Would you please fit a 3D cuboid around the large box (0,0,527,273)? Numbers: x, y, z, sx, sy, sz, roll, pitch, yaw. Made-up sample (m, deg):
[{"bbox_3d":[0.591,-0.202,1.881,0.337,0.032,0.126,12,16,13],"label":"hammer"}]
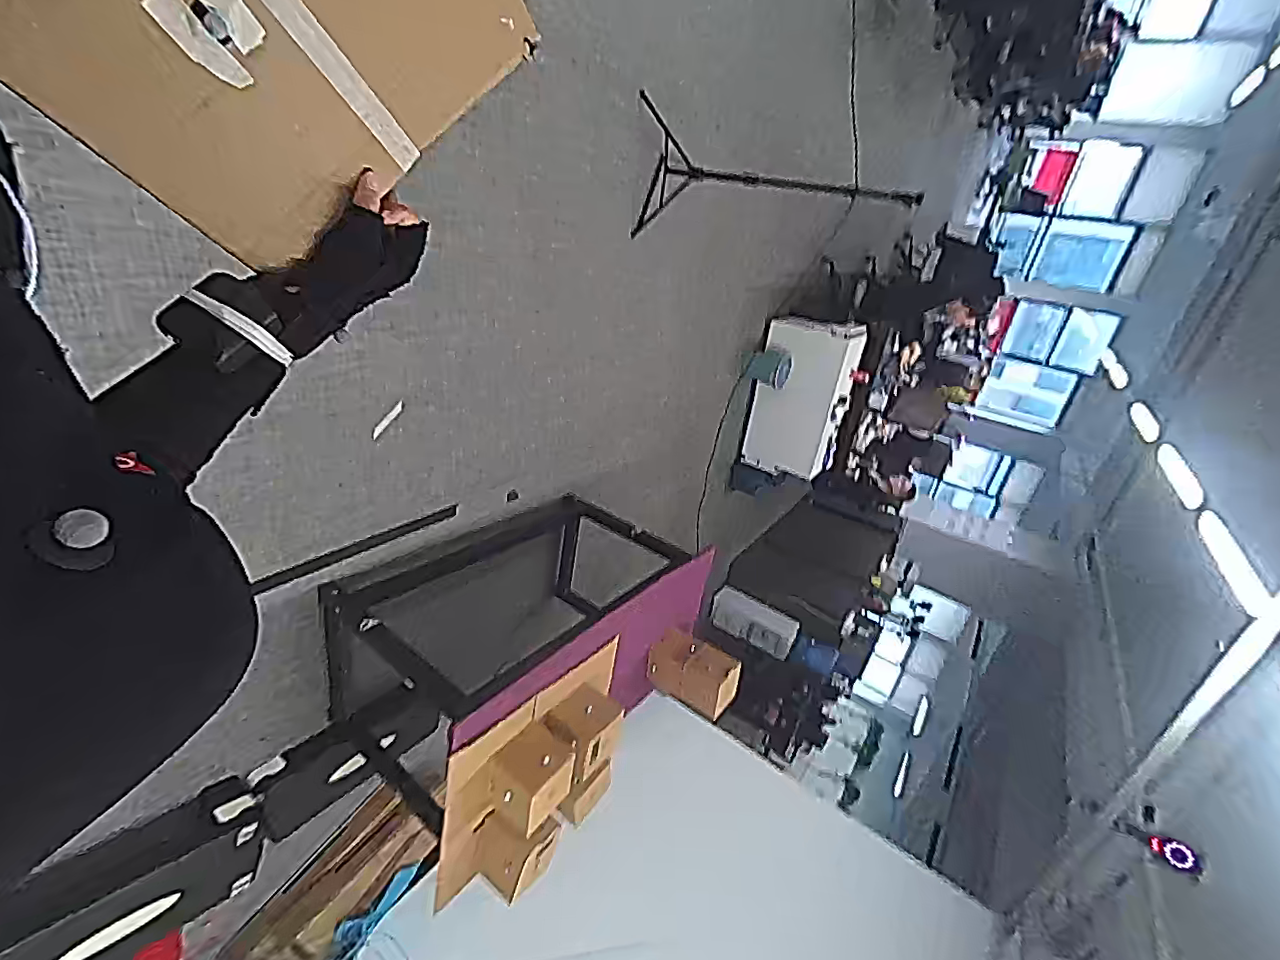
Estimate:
[{"bbox_3d":[-0.366,-0.445,0.379,0.320,0.320,0.408,-44,150,-2],"label":"large box"}]
